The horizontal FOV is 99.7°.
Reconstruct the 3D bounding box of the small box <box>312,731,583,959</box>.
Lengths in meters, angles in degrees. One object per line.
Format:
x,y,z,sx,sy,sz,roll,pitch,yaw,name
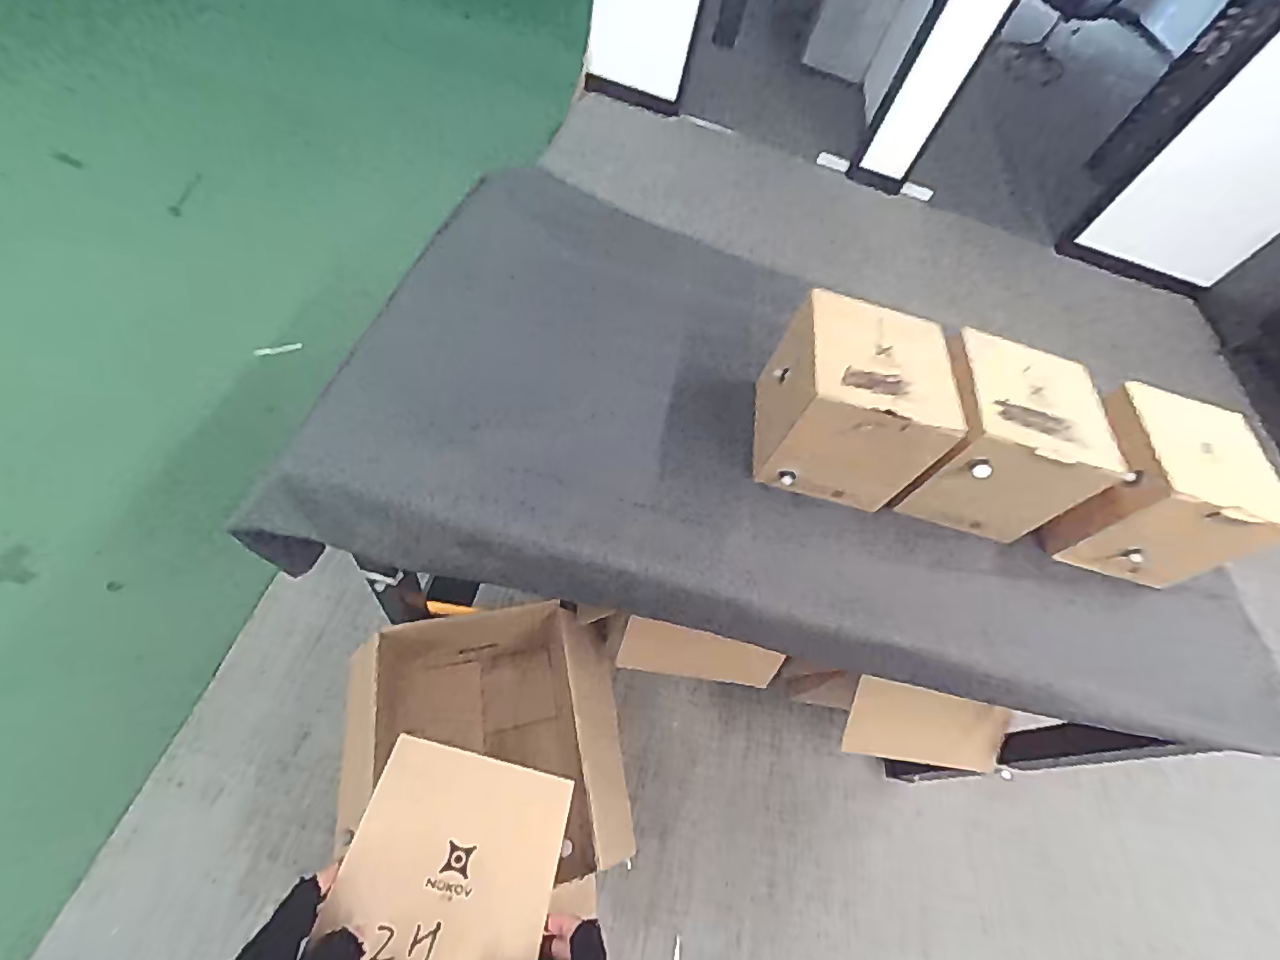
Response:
-0.166,0.361,0.487,0.168,0.176,0.179,19,44,-7,small box

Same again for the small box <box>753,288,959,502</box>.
0.247,-0.096,0.662,0.168,0.176,0.179,14,56,-6,small box

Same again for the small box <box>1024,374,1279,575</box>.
0.646,-0.002,0.703,0.168,0.176,0.179,14,56,-5,small box
